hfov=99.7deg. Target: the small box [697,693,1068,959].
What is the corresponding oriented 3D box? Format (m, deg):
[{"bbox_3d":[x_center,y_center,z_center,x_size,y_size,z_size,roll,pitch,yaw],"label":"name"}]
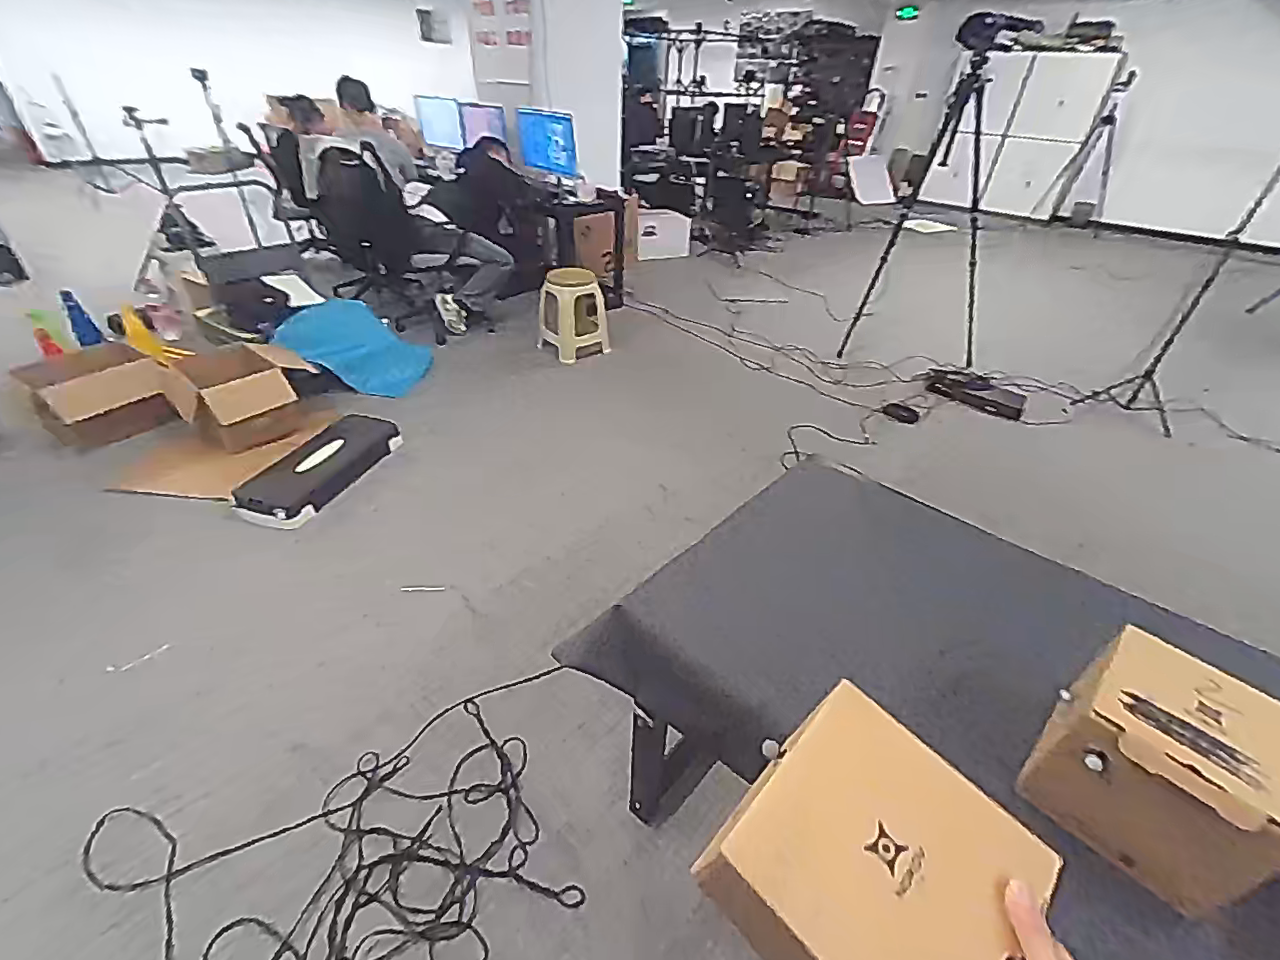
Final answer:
[{"bbox_3d":[0.165,0.311,0.420,0.168,0.176,0.179,-35,61,-29],"label":"small box"}]
